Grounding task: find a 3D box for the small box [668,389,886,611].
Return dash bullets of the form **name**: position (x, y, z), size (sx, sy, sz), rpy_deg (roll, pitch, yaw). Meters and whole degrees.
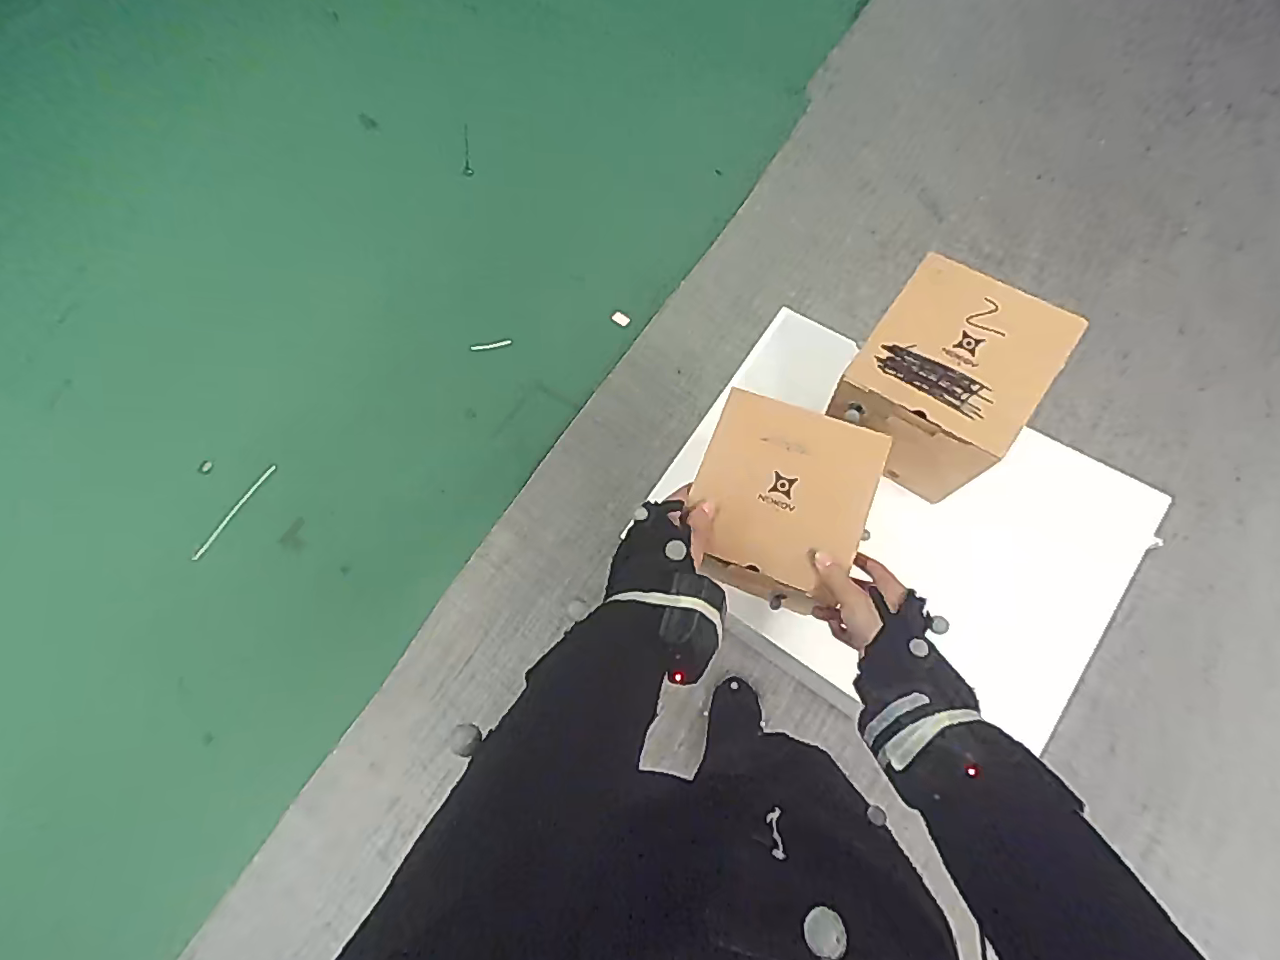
- **small box**: position (0.141, 0.033, 0.593), size (0.168, 0.176, 0.179), rpy_deg (19, 76, 11)
